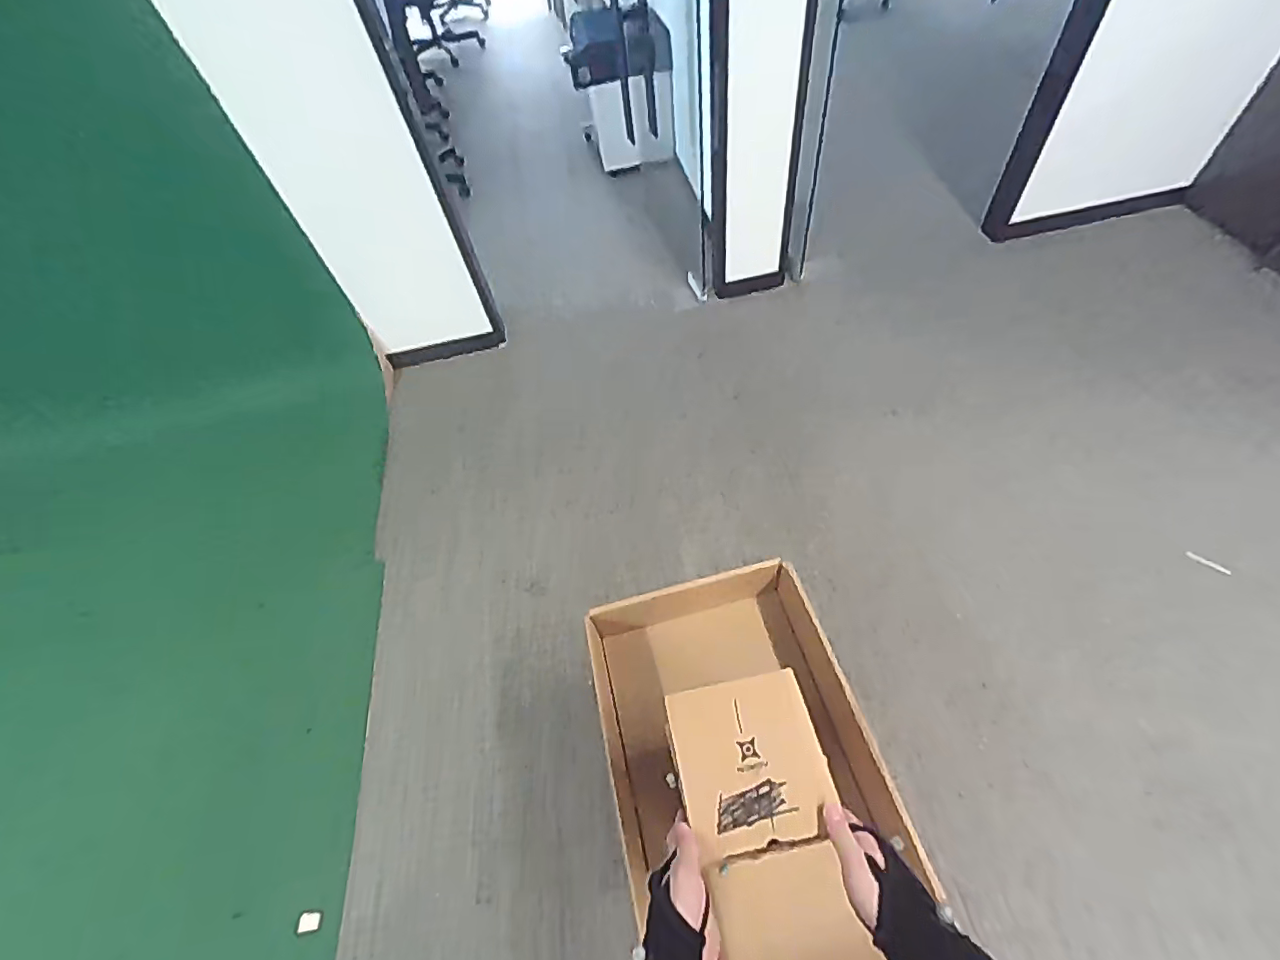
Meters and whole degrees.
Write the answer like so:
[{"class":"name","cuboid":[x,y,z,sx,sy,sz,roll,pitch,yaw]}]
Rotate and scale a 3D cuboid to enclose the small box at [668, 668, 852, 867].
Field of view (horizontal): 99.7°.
[{"class":"small box","cuboid":[0.135,0.358,0.667,0.168,0.176,0.179,-11,52,-3]}]
